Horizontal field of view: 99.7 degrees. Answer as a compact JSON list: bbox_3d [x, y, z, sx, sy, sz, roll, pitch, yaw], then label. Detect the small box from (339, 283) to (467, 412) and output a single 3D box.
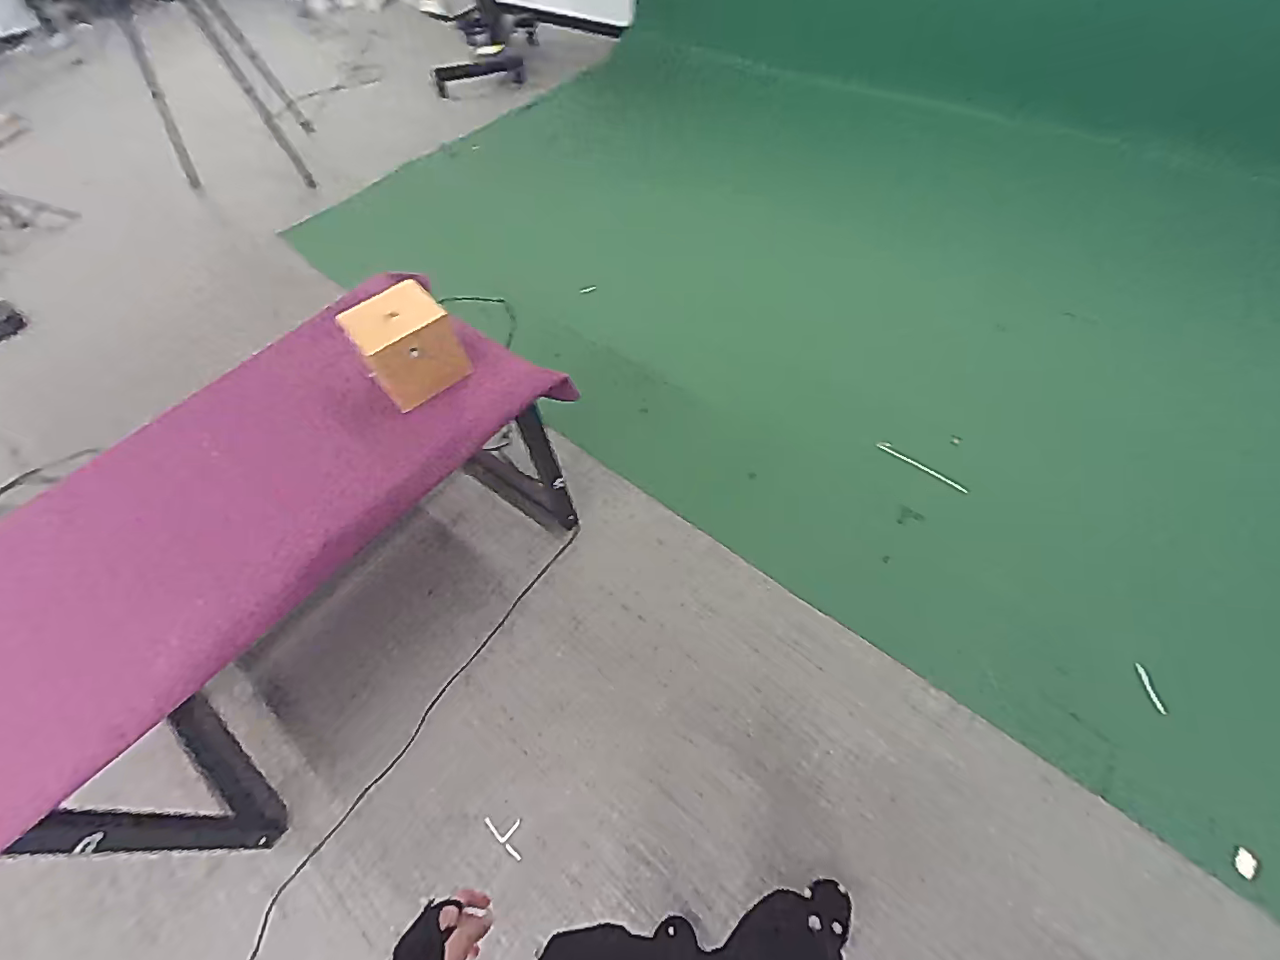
[{"bbox_3d":[-0.496,-0.281,1.162,0.179,0.176,0.168,-37,61,-17],"label":"small box"}]
